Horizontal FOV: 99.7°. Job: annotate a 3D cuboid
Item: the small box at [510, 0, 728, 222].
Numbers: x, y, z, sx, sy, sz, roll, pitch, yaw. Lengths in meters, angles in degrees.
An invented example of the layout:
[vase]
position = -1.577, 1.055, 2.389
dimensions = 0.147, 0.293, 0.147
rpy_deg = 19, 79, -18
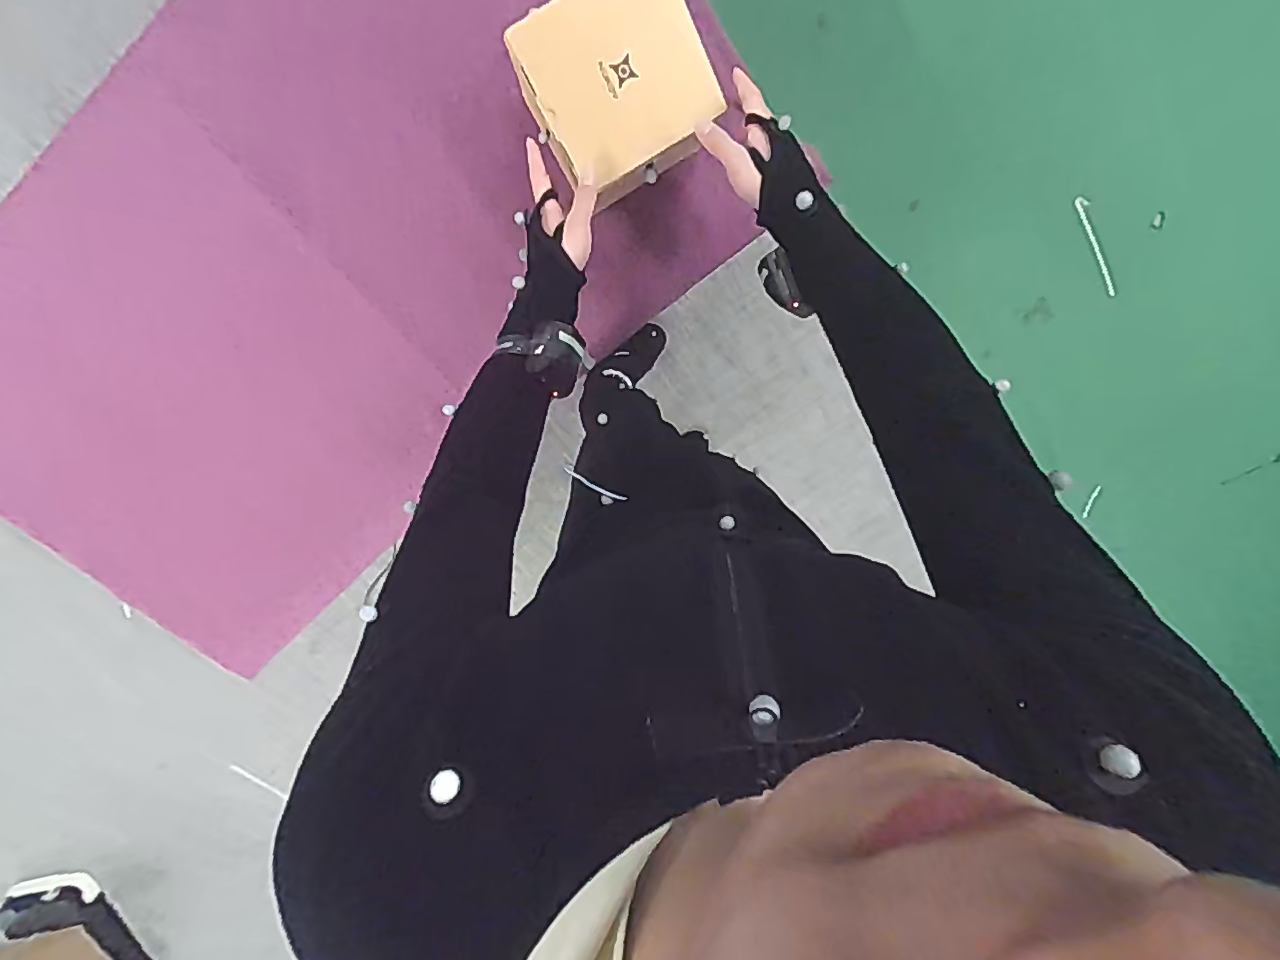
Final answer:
[small box]
position = -0.024, -0.427, 0.627
dimensions = 0.179, 0.176, 0.168
rpy_deg = -29, 109, 7
